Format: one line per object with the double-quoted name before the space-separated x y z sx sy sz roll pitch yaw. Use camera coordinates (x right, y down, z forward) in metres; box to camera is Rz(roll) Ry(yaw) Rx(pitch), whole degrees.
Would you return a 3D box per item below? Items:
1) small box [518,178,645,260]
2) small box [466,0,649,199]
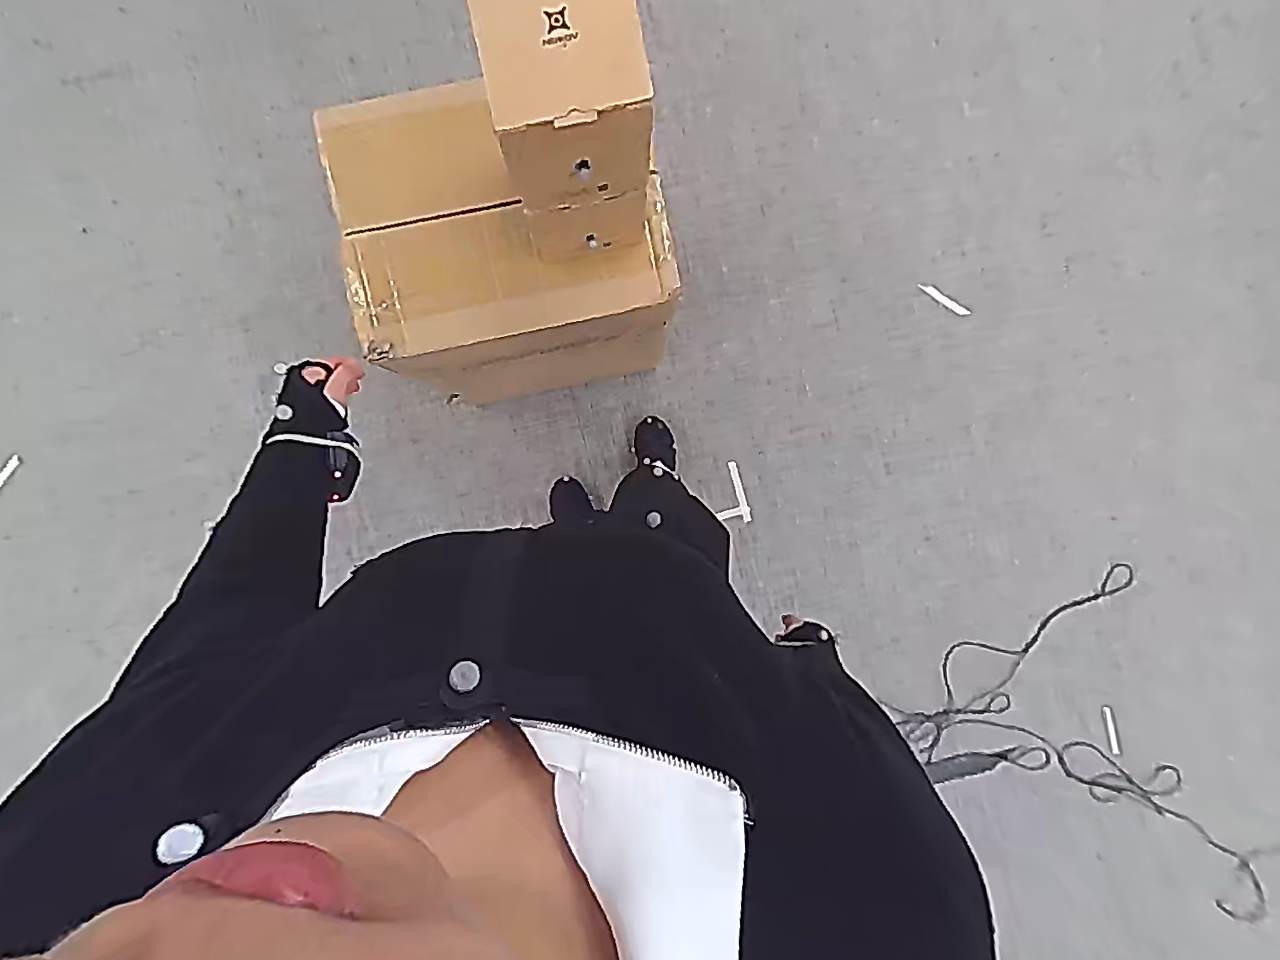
"small box" -0.093 -0.449 0.784 0.168 0.176 0.179 -13 92 -1
"small box" -0.085 -0.449 0.620 0.168 0.176 0.179 -12 92 -1
